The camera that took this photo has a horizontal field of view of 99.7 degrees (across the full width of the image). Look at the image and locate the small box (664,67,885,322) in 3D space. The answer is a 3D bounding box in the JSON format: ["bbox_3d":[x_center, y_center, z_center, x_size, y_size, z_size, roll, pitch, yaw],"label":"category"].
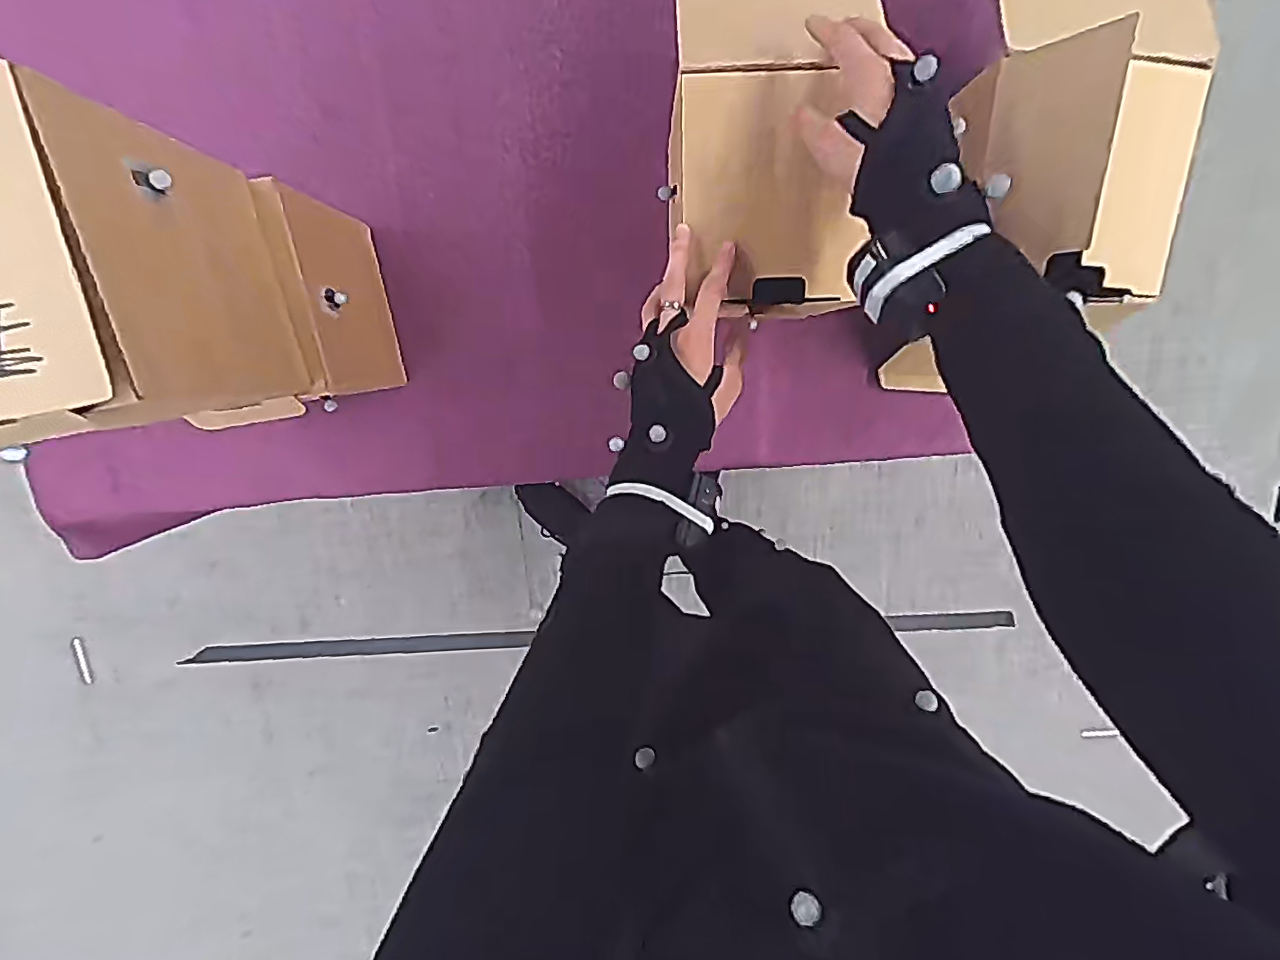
[{"bbox_3d":[0.109,-0.247,0.510,0.168,0.176,0.179,-1,103,1],"label":"small box"}]

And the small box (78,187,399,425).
[{"bbox_3d":[-0.362,-0.160,0.531,0.168,0.176,0.179,-8,103,1],"label":"small box"}]
